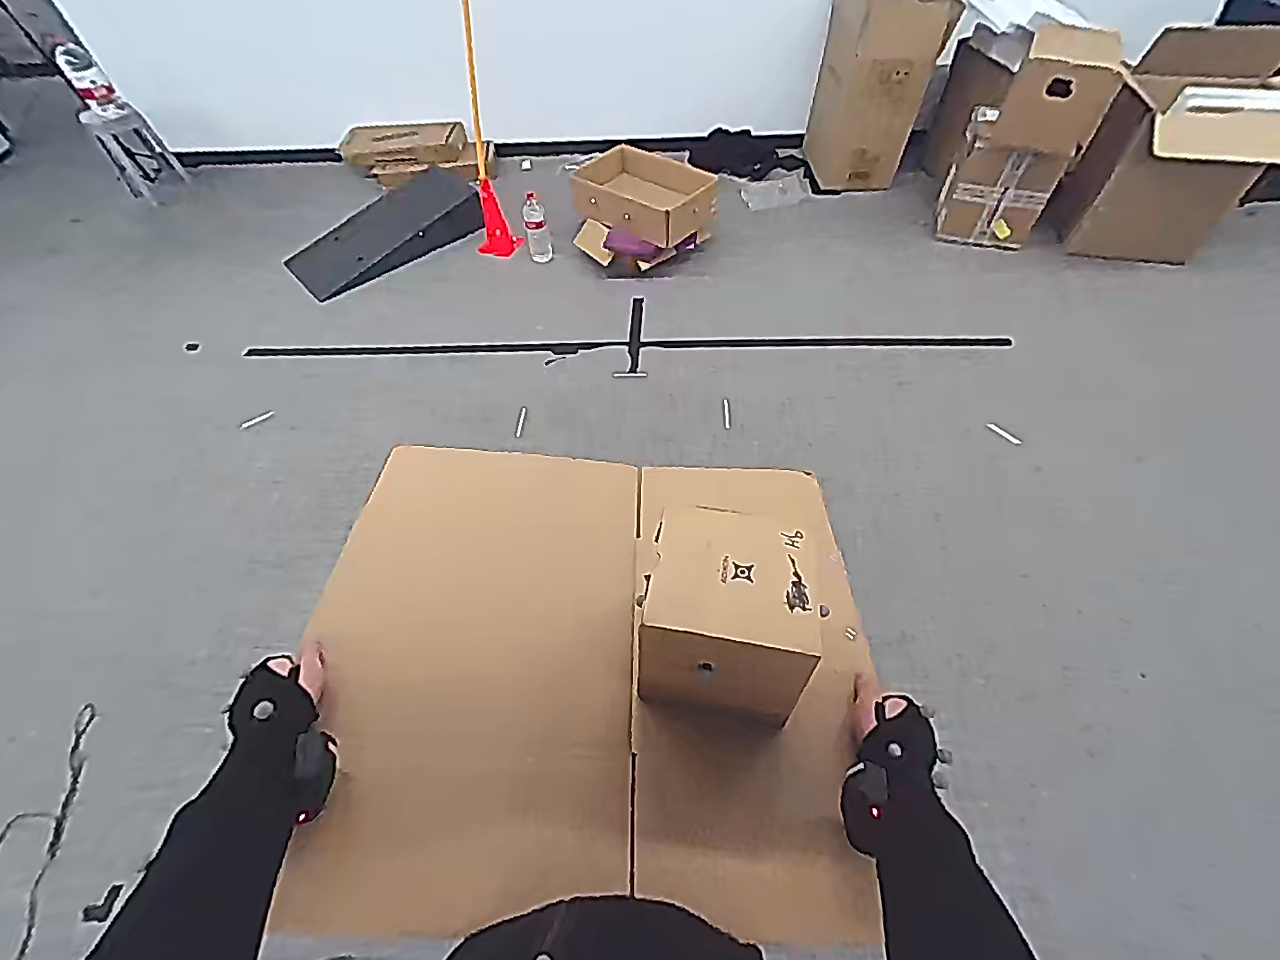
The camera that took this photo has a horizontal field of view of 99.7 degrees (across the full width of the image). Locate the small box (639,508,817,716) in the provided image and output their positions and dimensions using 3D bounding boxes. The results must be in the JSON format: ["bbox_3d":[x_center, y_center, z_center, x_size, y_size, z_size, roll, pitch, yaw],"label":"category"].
[{"bbox_3d":[0.100,0.156,0.635,0.179,0.176,0.168,7,46,8],"label":"small box"}]
